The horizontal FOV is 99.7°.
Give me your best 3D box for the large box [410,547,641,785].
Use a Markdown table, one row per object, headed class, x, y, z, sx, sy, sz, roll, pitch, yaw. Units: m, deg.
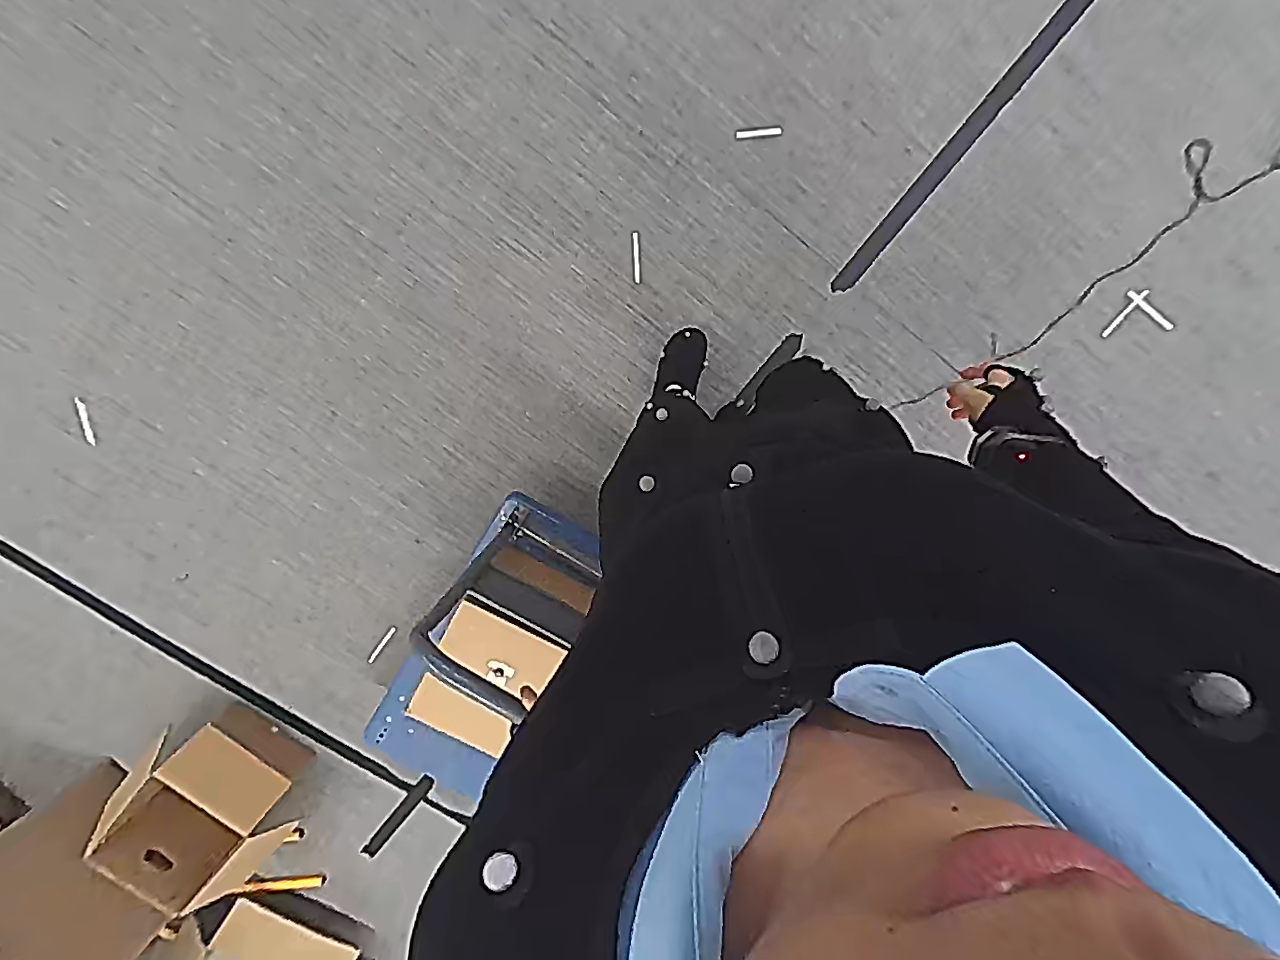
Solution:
| class | x | y | z | sx | sy | sz | roll | pitch | yaw |
| --- | --- | --- | --- | --- | --- | --- | --- | --- | --- |
| large box | -0.244 | 0.420 | 1.284 | 0.408 | 0.320 | 0.320 | 28 | 103 | -5 |
